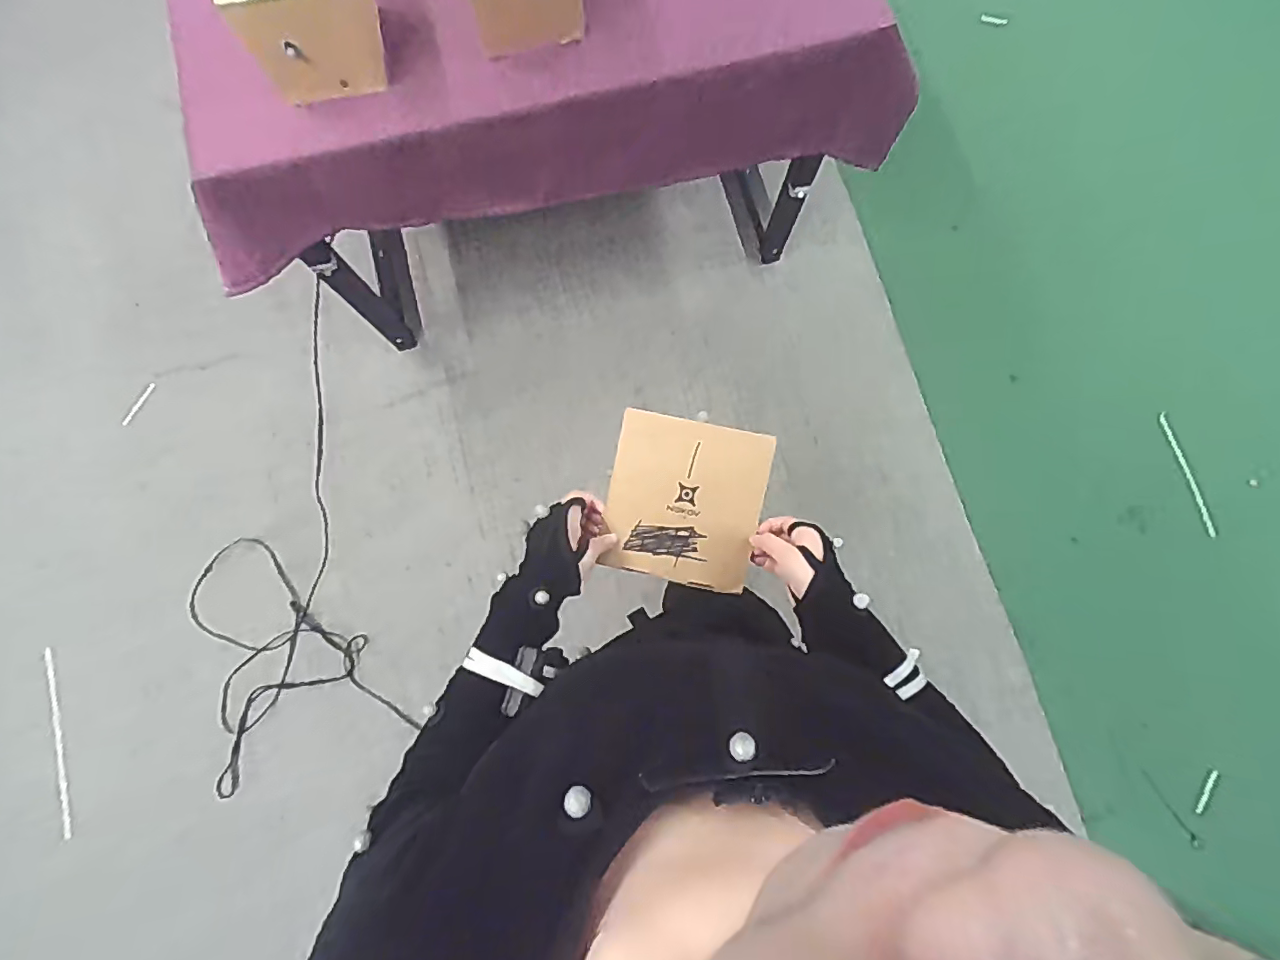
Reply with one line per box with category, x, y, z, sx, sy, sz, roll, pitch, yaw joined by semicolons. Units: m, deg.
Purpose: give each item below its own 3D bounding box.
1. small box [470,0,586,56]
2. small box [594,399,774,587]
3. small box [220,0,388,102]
small box;-0.192;-0.819;0.856;0.179;0.176;0.168;-12;80;-2
small box;0.051;0.008;0.656;0.168;0.176;0.179;12;95;3
small box;-0.513;-0.728;0.841;0.168;0.176;0.179;-11;79;-2
